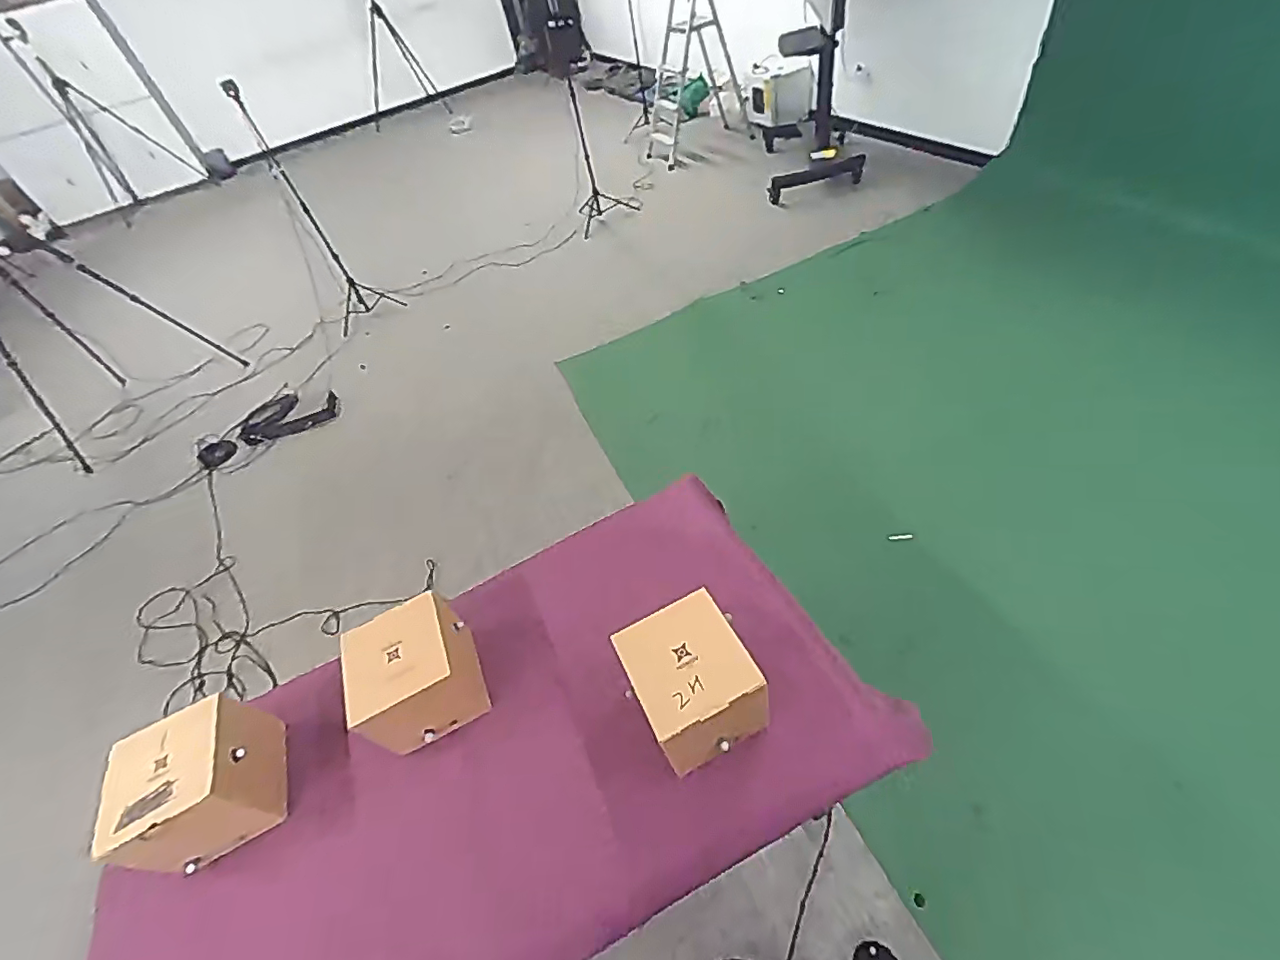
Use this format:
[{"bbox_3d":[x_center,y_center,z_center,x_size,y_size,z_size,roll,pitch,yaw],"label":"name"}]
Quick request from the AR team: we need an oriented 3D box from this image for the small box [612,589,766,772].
[{"bbox_3d":[0.077,0.307,0.829,0.168,0.176,0.179,-26,47,-8],"label":"small box"}]

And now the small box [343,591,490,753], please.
[{"bbox_3d":[-0.381,0.331,0.929,0.168,0.176,0.179,-26,49,-9],"label":"small box"}]

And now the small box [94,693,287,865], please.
[{"bbox_3d":[-0.699,0.484,0.867,0.168,0.176,0.179,-26,48,-11],"label":"small box"}]
